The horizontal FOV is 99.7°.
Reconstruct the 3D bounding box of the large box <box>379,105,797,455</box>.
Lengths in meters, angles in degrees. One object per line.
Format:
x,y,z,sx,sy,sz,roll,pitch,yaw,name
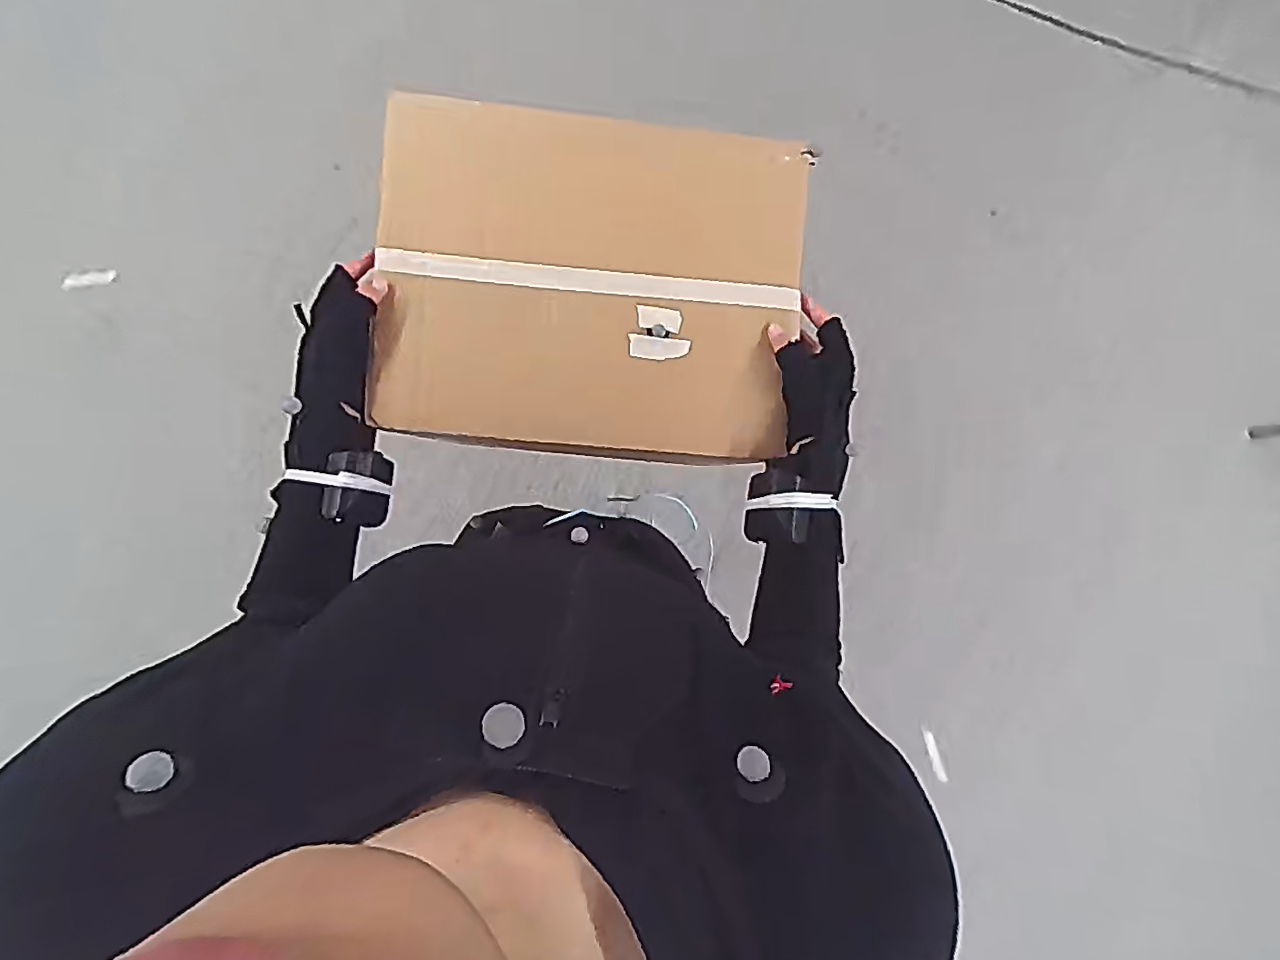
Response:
-0.060,-0.198,0.678,0.408,0.320,0.320,4,91,-4,large box
